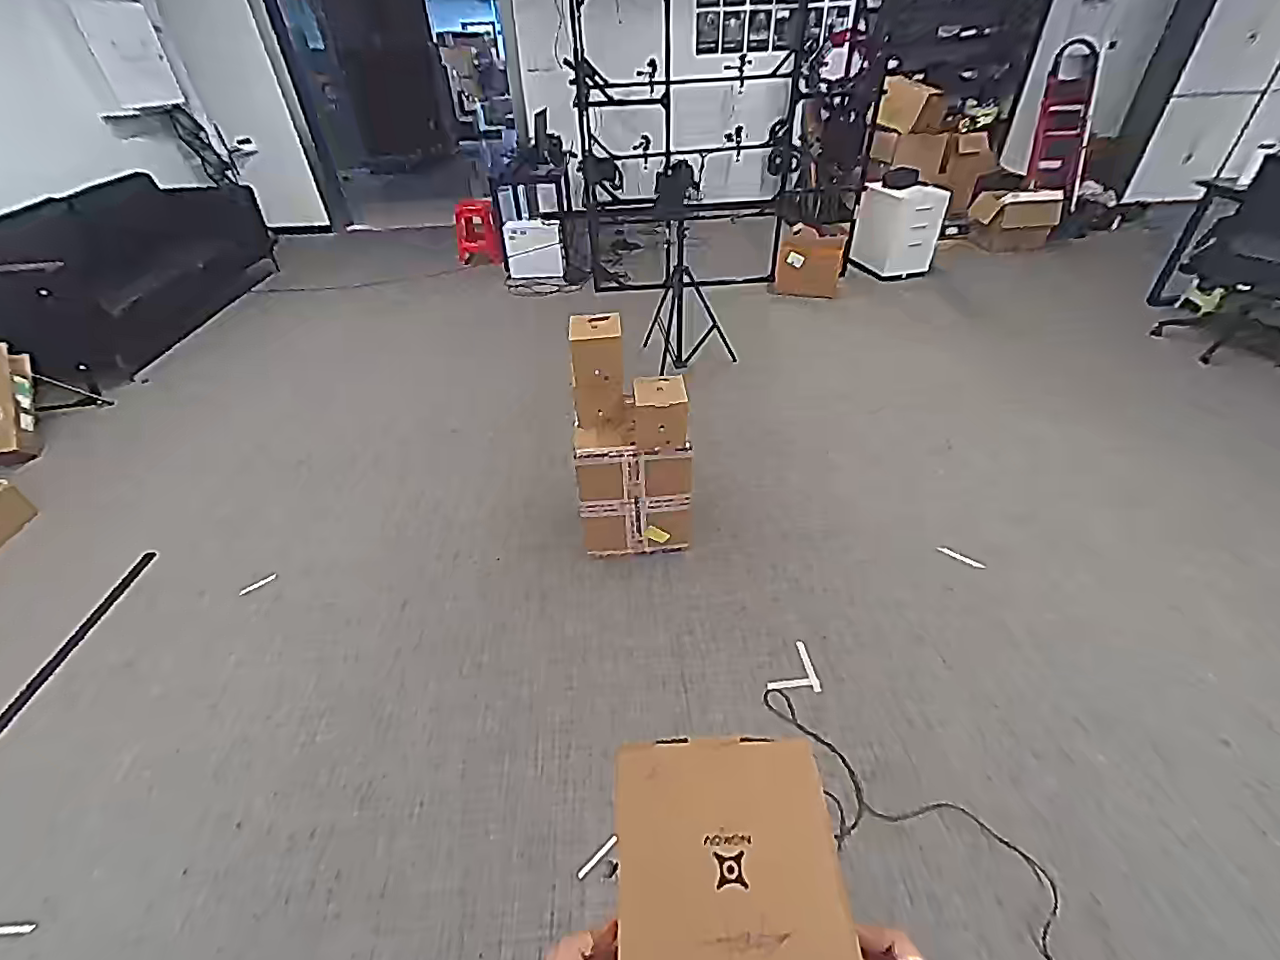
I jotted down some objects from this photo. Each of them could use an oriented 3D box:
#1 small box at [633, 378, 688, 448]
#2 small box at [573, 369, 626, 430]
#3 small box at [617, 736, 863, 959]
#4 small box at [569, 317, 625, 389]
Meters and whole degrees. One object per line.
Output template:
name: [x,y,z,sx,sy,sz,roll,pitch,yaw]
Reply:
small box: [0.067,-0.217,1.786,0.168,0.176,0.179,-3,41,-2]
small box: [-0.144,-0.296,1.896,0.168,0.176,0.179,-8,41,-3]
small box: [0.064,0.336,0.454,0.168,0.176,0.179,-1,46,-2]
small box: [-0.138,-0.420,1.786,0.168,0.176,0.179,-6,41,0]
